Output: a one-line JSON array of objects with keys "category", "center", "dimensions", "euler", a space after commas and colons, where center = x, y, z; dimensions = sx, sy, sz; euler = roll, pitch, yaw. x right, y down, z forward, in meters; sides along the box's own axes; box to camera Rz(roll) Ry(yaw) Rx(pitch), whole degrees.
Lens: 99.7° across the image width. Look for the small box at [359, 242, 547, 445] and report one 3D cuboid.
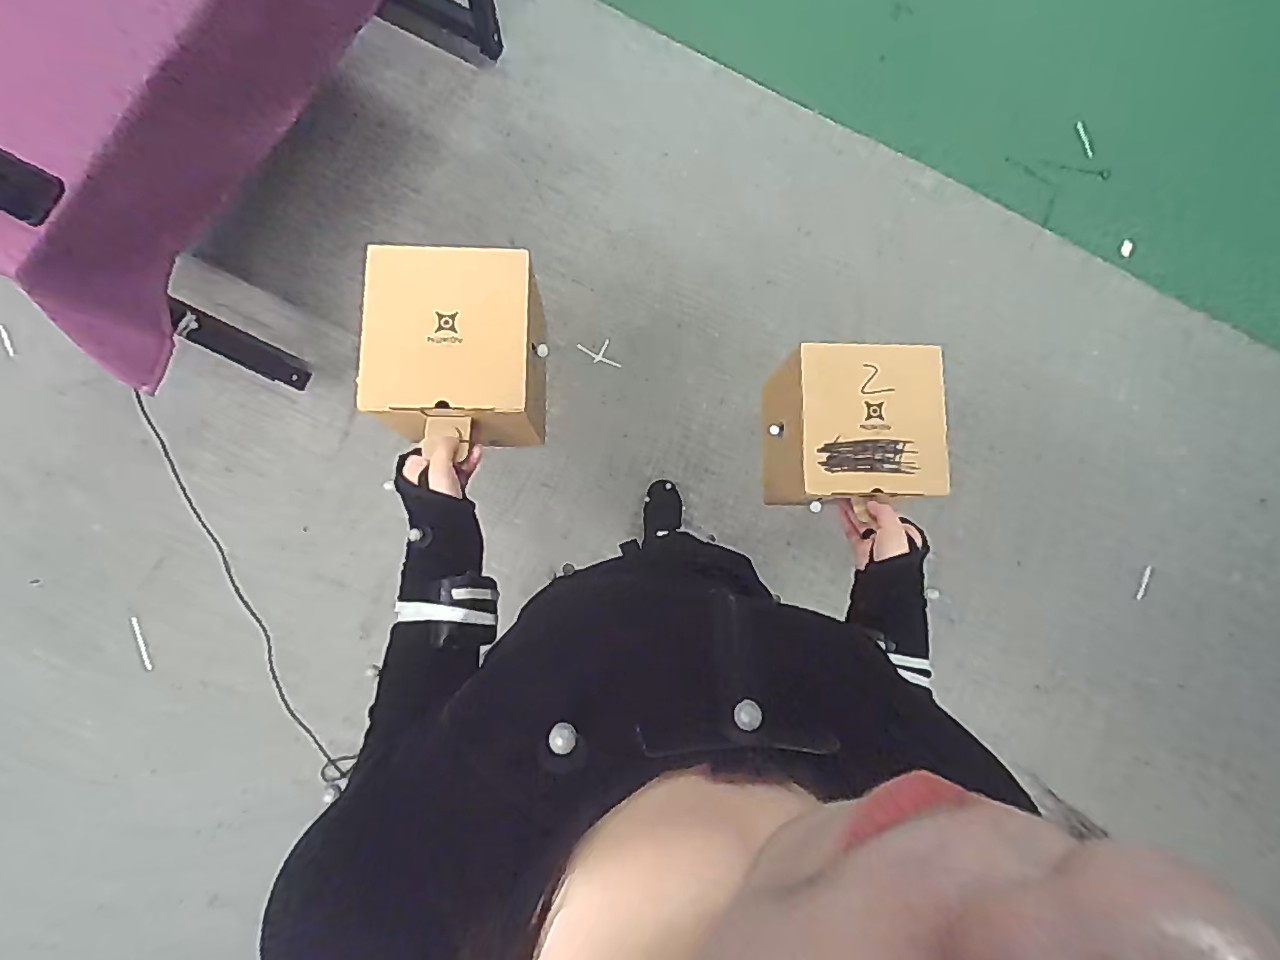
[{"category": "small box", "center": [-0.199, -0.144, 0.622], "dimensions": [0.168, 0.176, 0.179], "euler": [0, 82, -5]}]
